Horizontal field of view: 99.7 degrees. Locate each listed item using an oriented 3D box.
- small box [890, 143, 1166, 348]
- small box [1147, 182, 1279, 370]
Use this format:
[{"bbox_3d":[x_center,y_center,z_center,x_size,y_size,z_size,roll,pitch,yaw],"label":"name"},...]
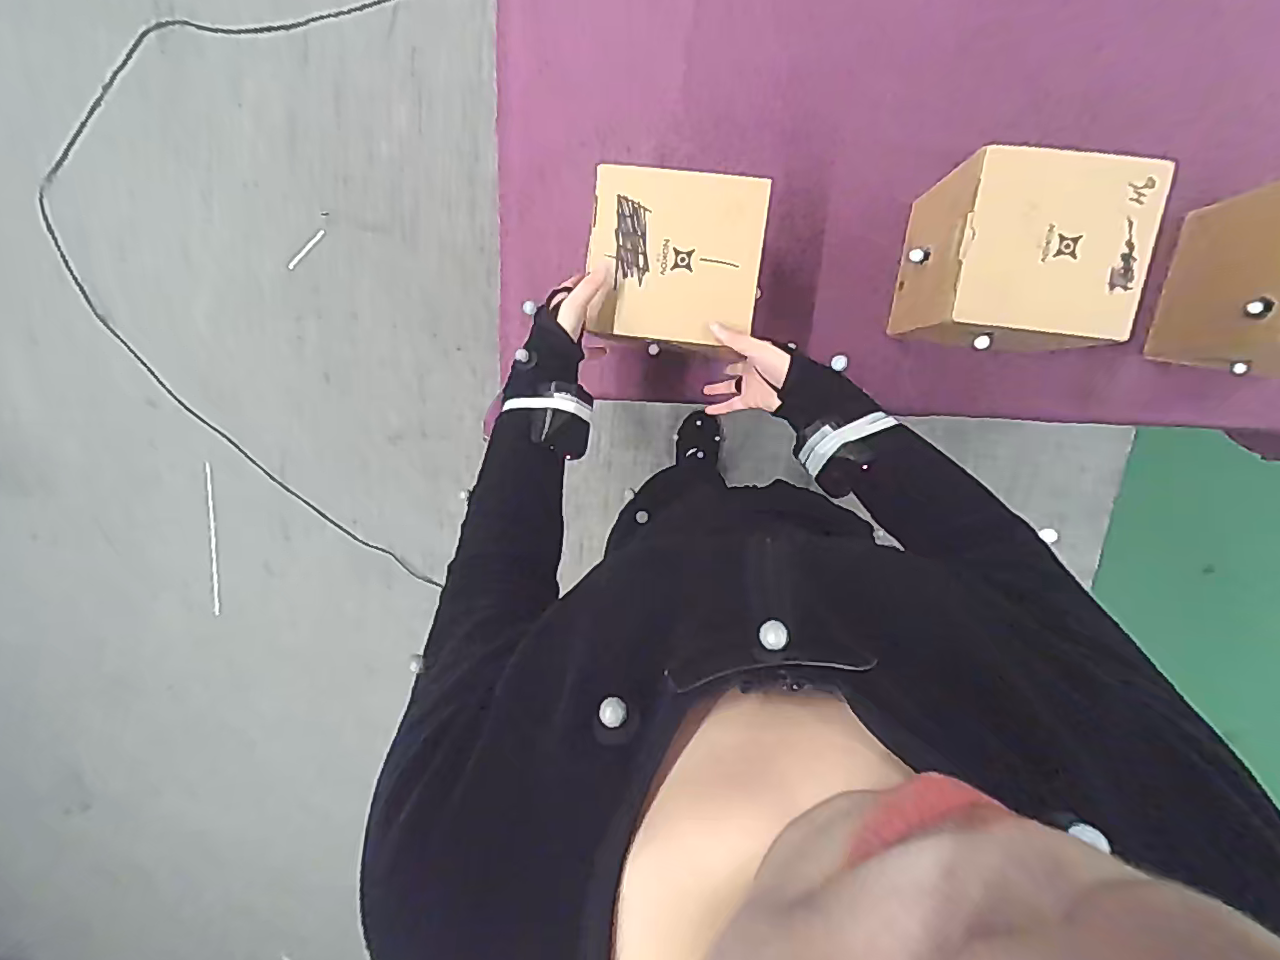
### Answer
[{"bbox_3d":[0.404,-0.244,0.602,0.179,0.176,0.168,8,100,4],"label":"small box"},{"bbox_3d":[0.714,-0.219,0.582,0.168,0.176,0.179,9,101,3],"label":"small box"}]
